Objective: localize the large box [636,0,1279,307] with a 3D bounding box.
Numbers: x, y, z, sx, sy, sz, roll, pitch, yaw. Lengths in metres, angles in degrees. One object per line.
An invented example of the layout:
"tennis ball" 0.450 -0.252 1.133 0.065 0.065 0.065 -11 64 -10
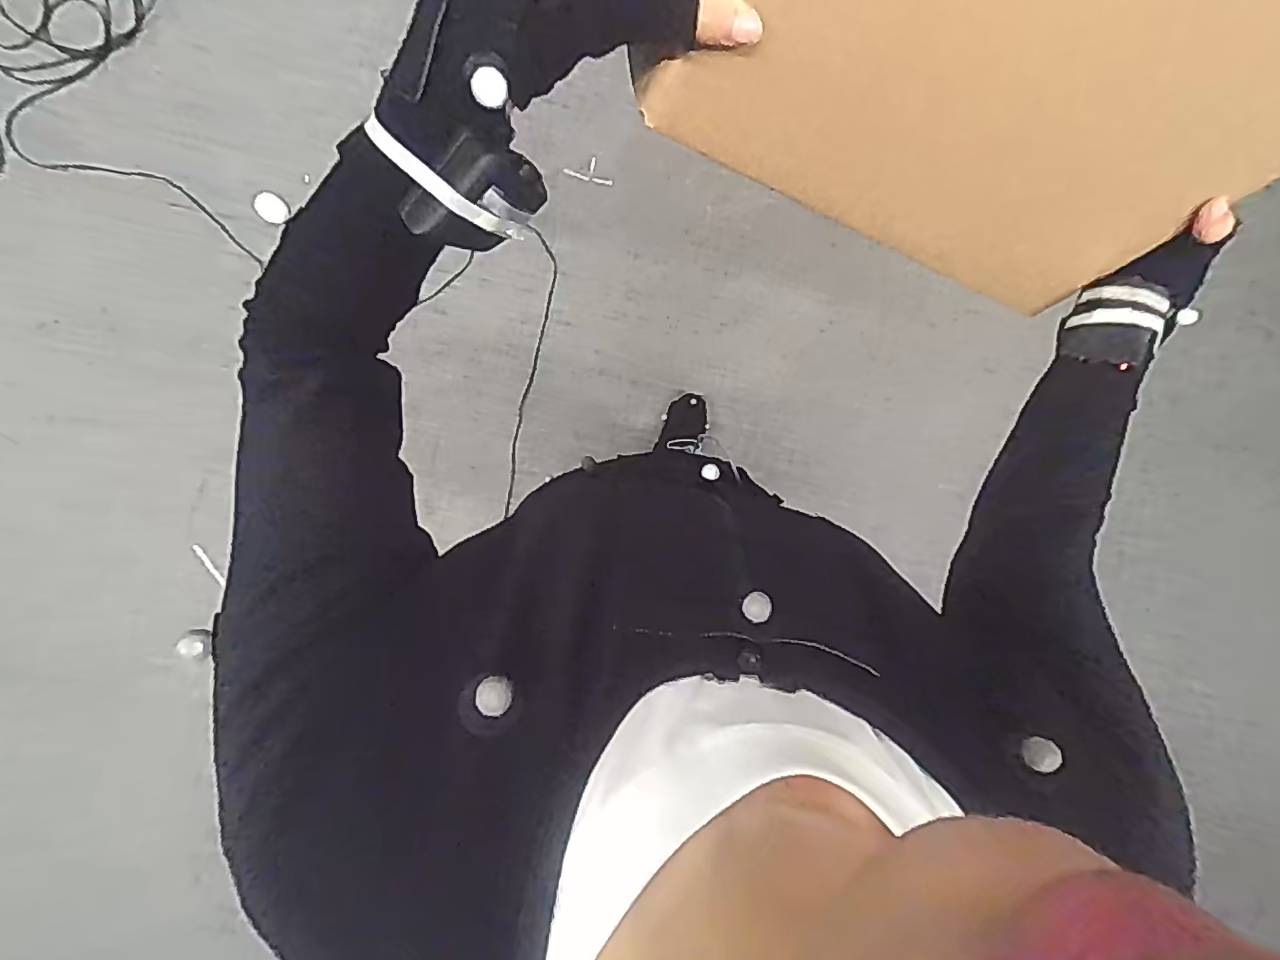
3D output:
"large box" 0.235 -0.365 0.328 0.408 0.320 0.320 8 65 -30
